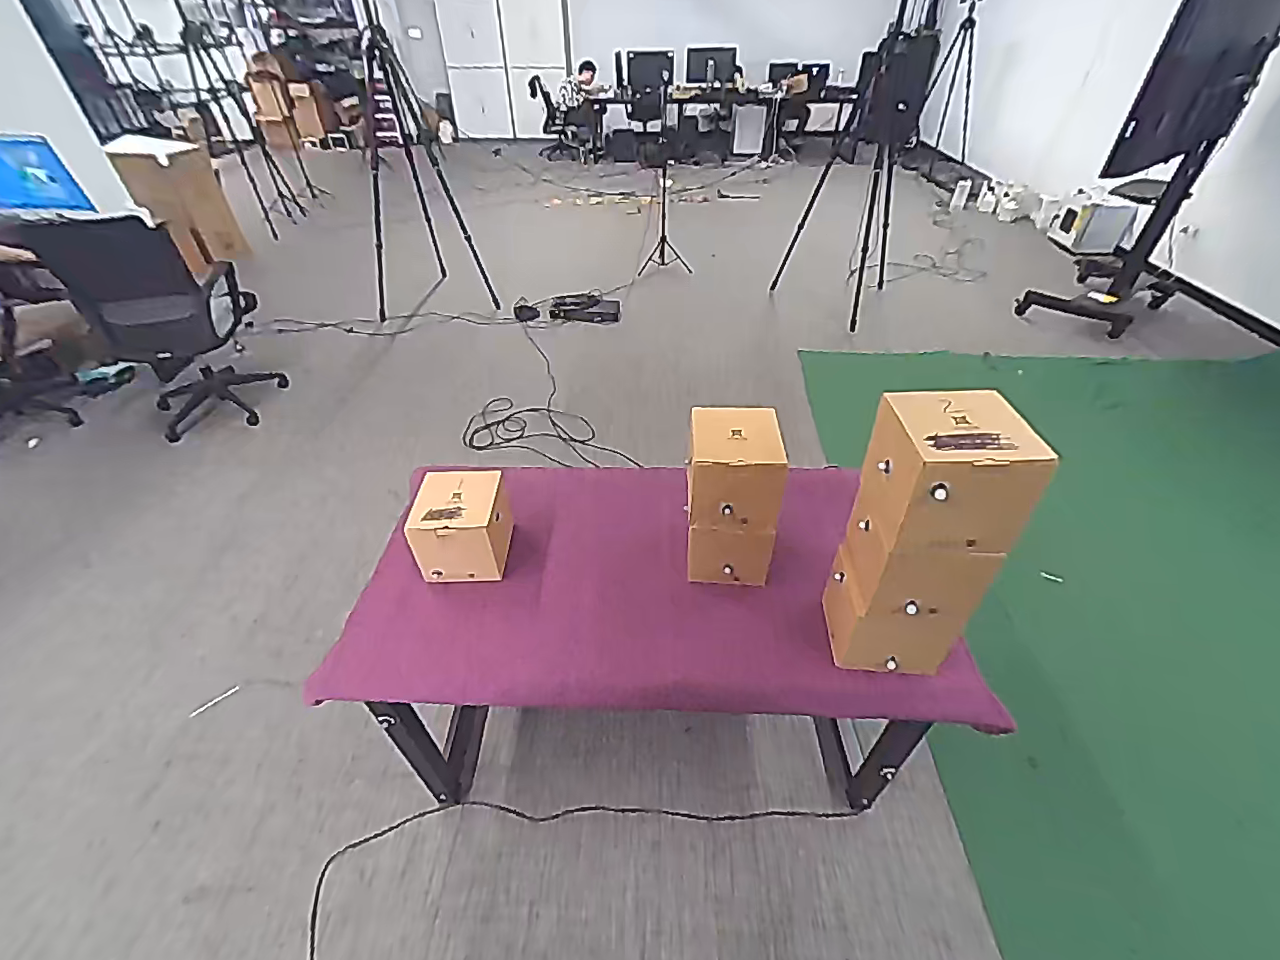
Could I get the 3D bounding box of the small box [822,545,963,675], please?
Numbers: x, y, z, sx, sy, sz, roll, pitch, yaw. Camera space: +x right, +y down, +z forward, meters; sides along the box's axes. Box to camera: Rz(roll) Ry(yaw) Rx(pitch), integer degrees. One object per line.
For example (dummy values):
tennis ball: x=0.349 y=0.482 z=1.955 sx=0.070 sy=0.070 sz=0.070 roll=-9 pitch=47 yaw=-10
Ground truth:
small box: x=0.453 y=0.243 z=1.003 sx=0.179 sy=0.176 sz=0.168 roll=3 pitch=40 yaw=5

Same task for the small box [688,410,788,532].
small box: x=0.182 y=-0.019 z=1.061 sx=0.168 sy=0.176 sz=0.179 roll=1 pitch=42 yaw=2

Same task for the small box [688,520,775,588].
small box: x=0.190 y=0.107 z=1.164 sx=0.168 sy=0.176 sz=0.179 roll=3 pitch=42 yaw=5

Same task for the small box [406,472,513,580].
small box: x=-0.379 y=0.102 z=1.173 sx=0.168 sy=0.176 sz=0.179 roll=-1 pitch=40 yaw=-1

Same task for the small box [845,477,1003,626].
small box: x=0.453 y=0.116 z=0.899 sx=0.168 sy=0.176 sz=0.179 roll=2 pitch=41 yaw=6
